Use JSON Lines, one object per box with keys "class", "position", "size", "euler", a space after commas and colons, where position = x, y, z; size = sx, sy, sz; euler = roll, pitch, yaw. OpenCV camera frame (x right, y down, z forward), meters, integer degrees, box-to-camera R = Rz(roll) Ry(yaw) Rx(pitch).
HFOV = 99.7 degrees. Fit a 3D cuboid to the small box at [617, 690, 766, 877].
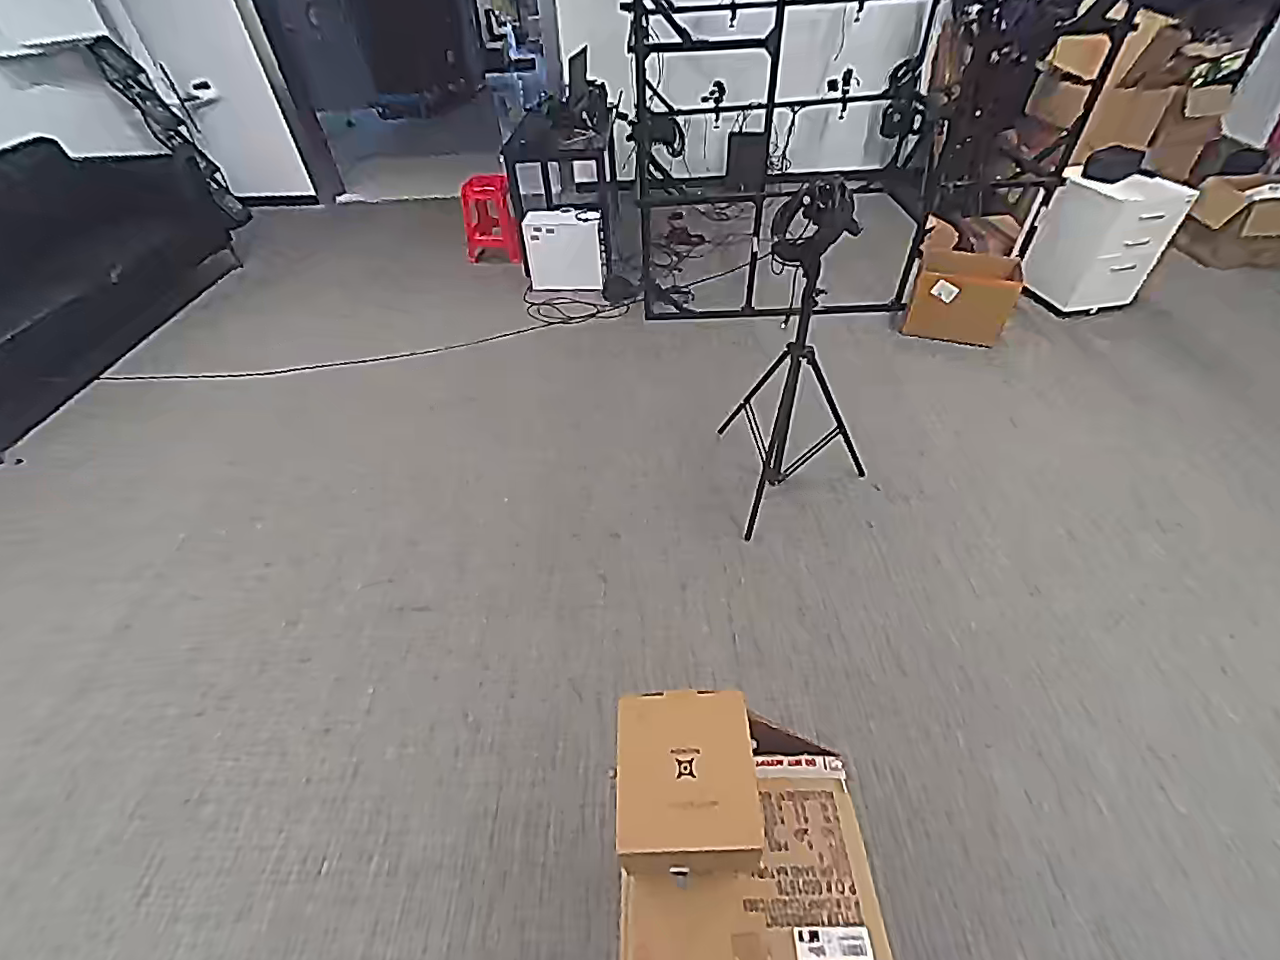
{"class": "small box", "position": [0.060, 0.394, 0.702], "size": [0.168, 0.176, 0.179], "euler": [-4, 47, 2]}
